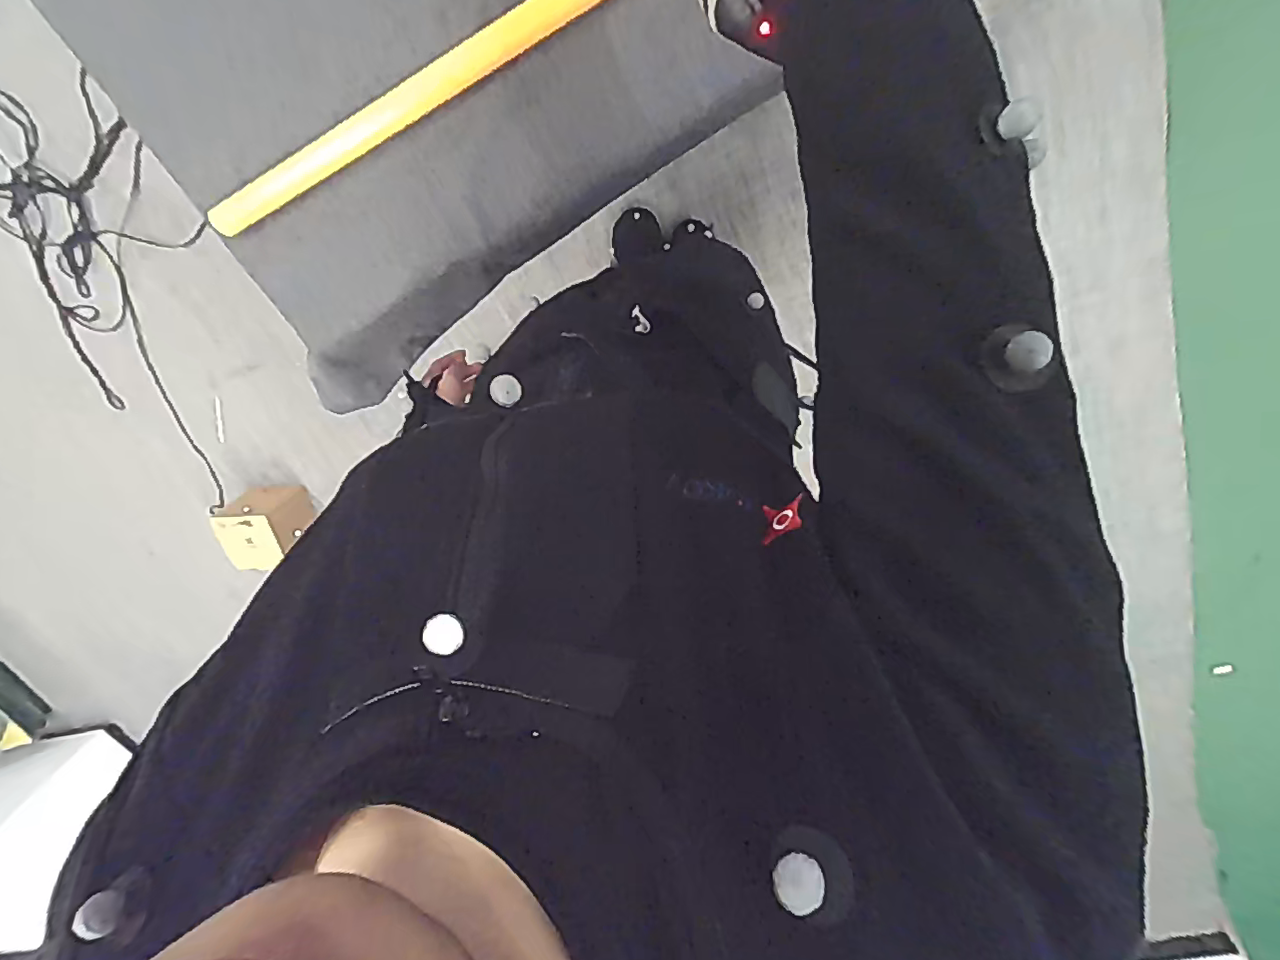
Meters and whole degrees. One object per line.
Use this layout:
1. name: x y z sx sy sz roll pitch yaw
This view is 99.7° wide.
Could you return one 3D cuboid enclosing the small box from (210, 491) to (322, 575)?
1. small box: -1.042 0.147 1.526 0.168 0.176 0.179 -3 118 6
